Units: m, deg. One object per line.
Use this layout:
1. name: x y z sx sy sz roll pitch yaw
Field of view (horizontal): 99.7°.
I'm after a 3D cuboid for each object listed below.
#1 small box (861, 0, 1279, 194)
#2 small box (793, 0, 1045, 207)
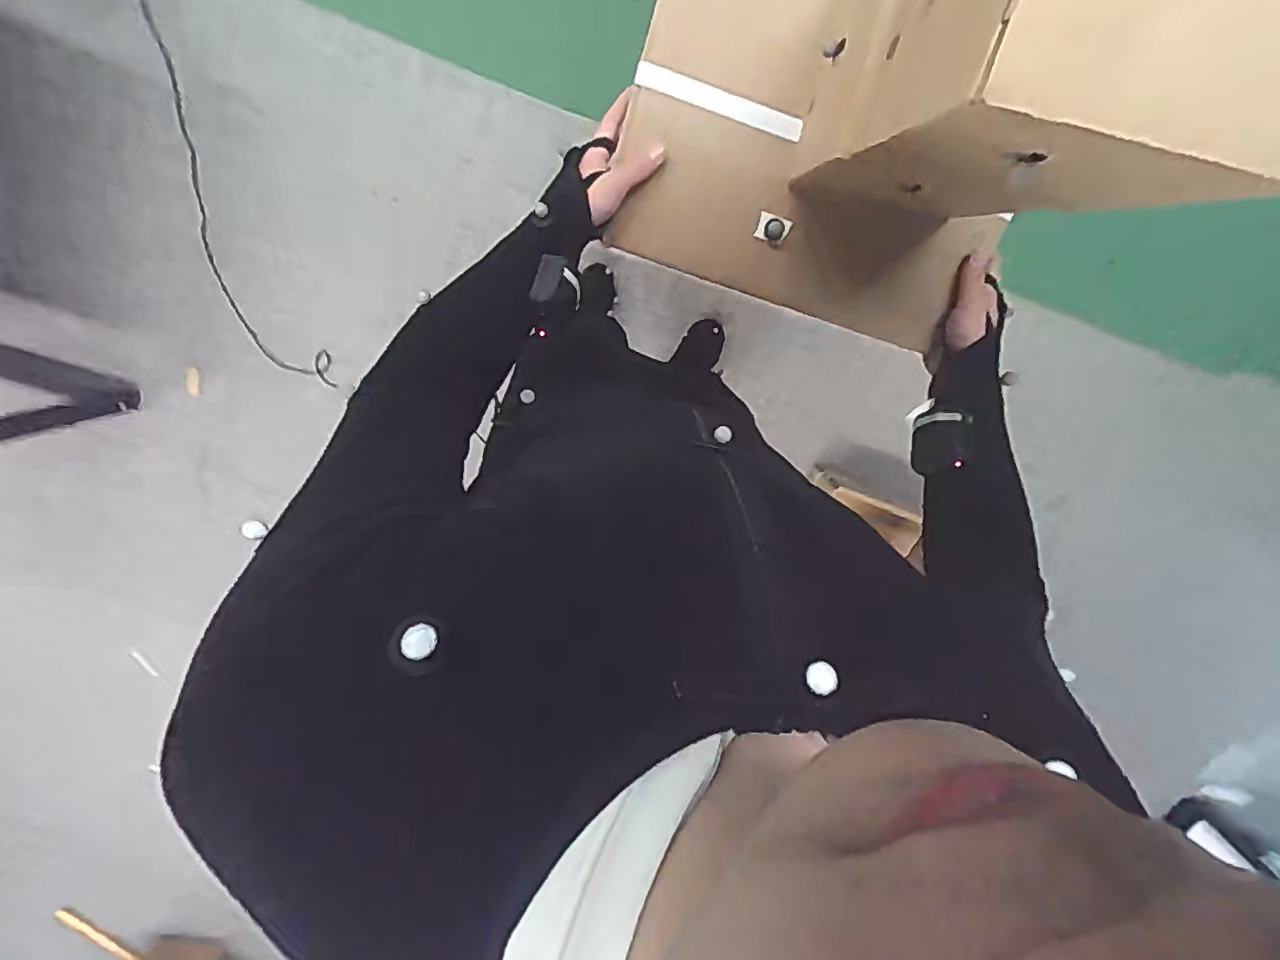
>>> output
1. small box: 0.246 -0.263 0.287 0.179 0.176 0.168 11 113 -2
2. small box: 0.241 -0.328 0.437 0.179 0.176 0.168 10 113 -3
